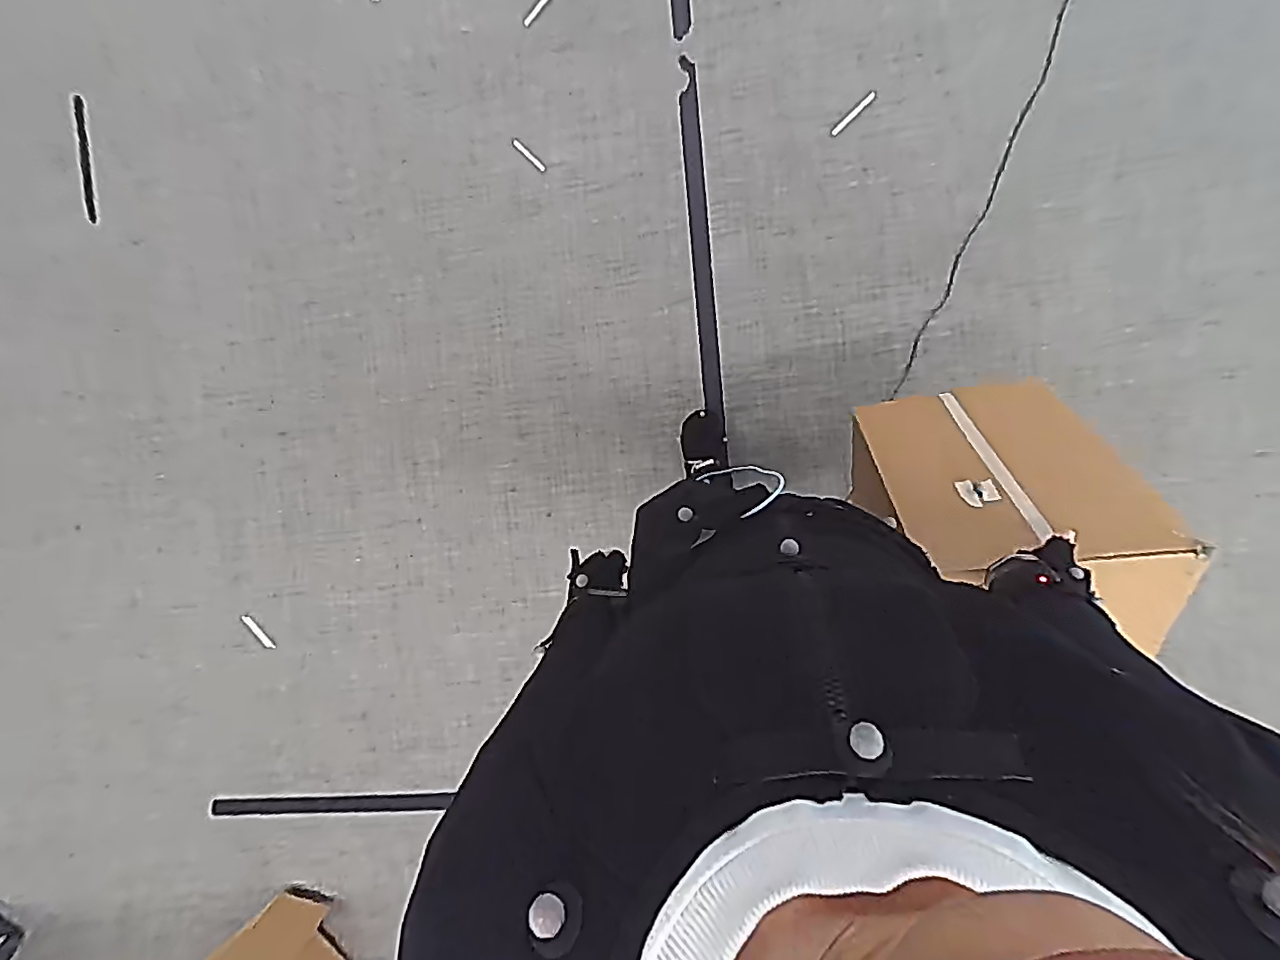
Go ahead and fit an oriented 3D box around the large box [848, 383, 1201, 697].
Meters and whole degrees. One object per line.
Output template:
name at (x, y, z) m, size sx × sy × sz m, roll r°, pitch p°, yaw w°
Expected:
large box at (0.547, 0.092, 0.894) m, size 0.320 × 0.408 × 0.320 m, roll -8°, pitch 129°, yaw 13°
